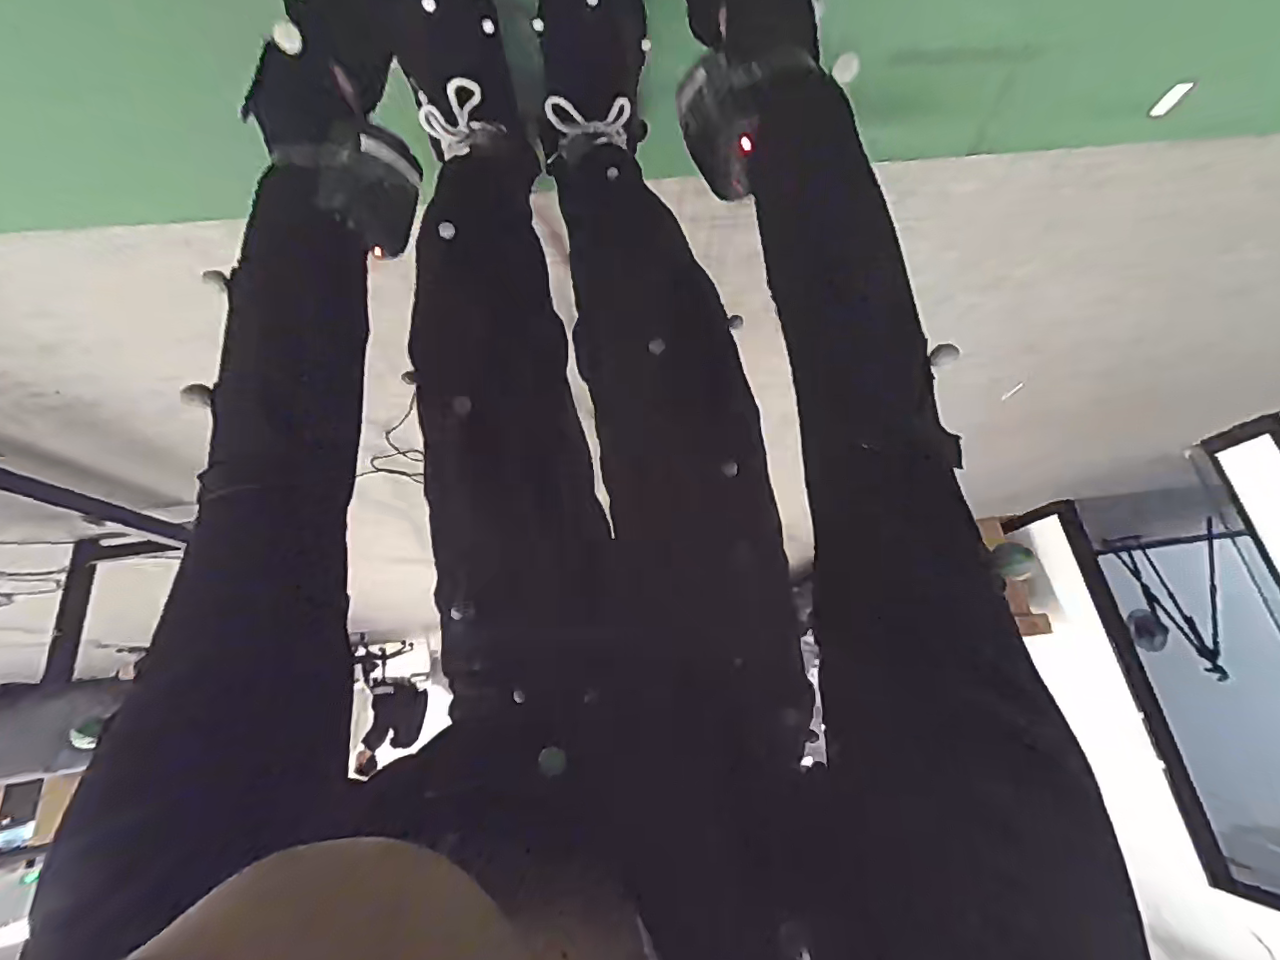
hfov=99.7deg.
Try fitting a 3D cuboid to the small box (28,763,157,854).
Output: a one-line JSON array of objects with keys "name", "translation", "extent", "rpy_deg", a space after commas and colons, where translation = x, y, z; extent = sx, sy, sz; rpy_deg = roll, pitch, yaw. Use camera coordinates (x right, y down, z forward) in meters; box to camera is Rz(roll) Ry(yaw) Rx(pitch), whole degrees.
[{"name": "small box", "translation": [-1.473, 0.883, 1.469], "extent": [0.168, 0.176, 0.179], "rpy_deg": [-6, 160, -5]}]
